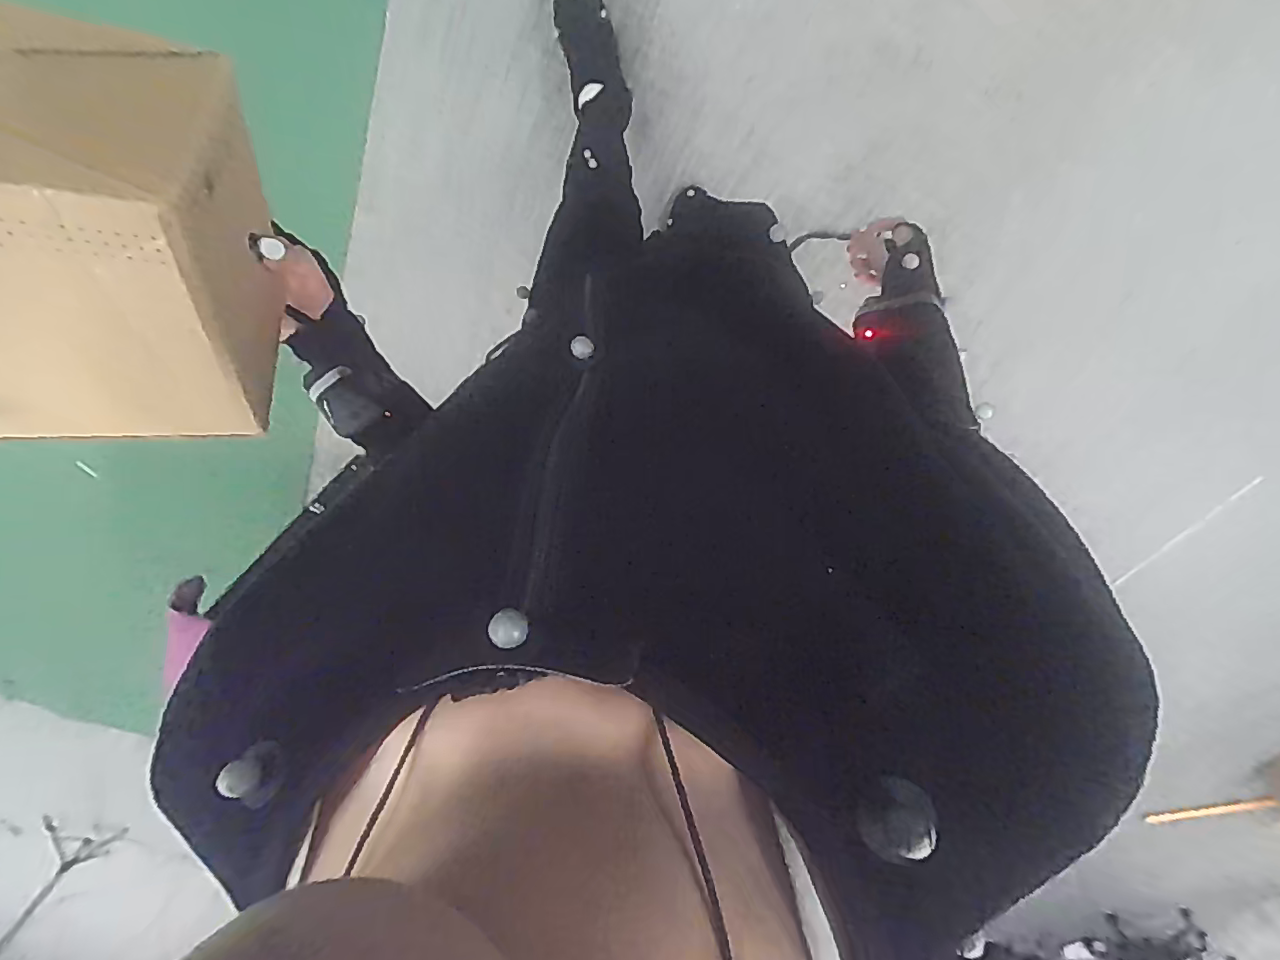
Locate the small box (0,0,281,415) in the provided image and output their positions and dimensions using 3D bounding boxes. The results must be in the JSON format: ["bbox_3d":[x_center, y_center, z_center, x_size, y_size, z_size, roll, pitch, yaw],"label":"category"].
[{"bbox_3d":[-0.323,-0.153,0.298,0.179,0.168,0.176,-2,147,-23],"label":"small box"}]
